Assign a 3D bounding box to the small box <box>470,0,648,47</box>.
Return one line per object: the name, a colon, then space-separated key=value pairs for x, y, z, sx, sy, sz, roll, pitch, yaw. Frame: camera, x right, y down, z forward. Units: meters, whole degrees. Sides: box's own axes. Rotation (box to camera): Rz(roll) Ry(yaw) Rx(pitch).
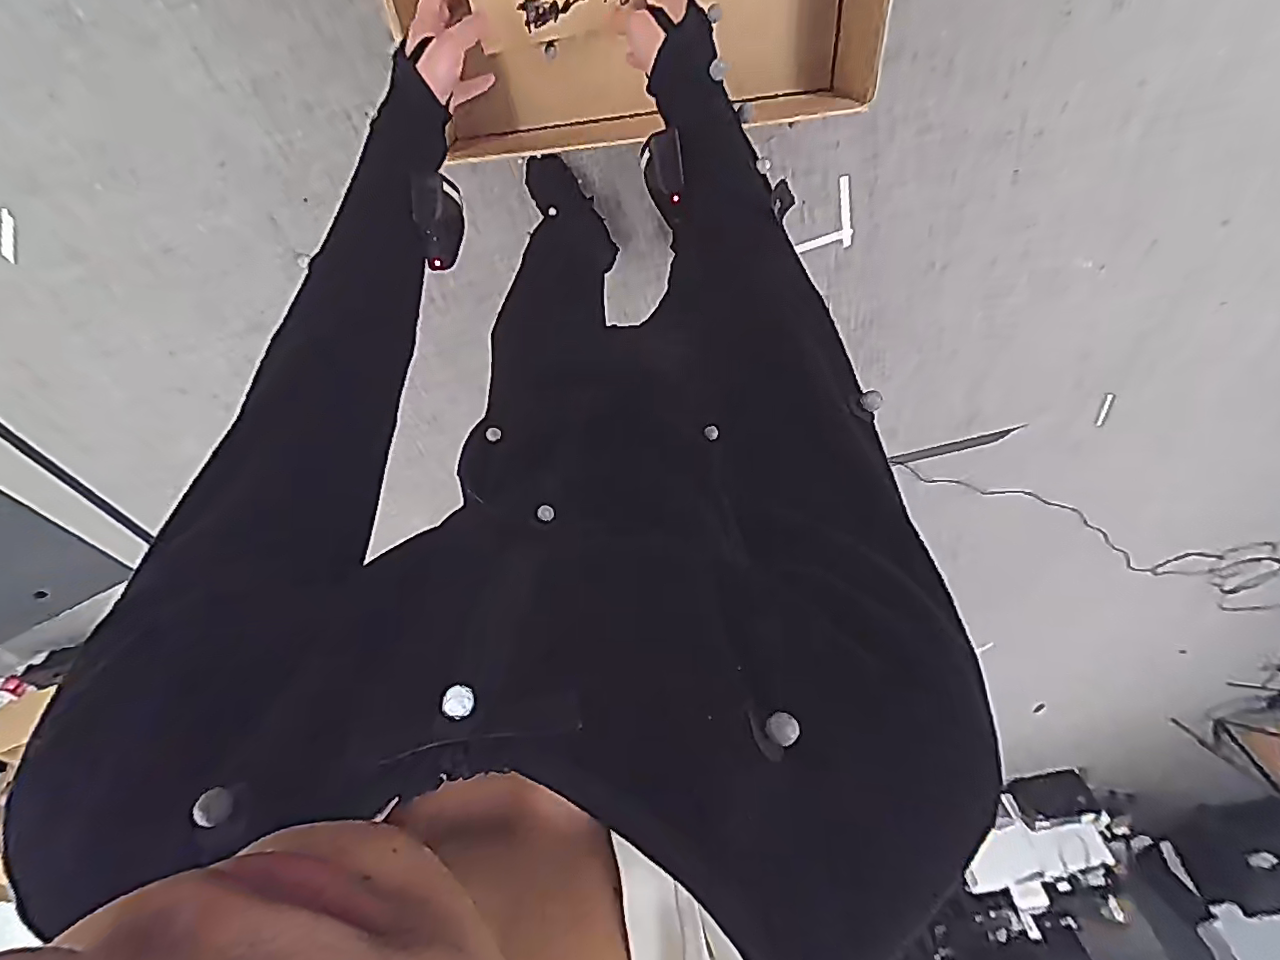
small box: x=-0.093 y=-0.543 z=0.521 sx=0.168 sy=0.176 sz=0.179 roll=-11 pitch=131 yaw=1
